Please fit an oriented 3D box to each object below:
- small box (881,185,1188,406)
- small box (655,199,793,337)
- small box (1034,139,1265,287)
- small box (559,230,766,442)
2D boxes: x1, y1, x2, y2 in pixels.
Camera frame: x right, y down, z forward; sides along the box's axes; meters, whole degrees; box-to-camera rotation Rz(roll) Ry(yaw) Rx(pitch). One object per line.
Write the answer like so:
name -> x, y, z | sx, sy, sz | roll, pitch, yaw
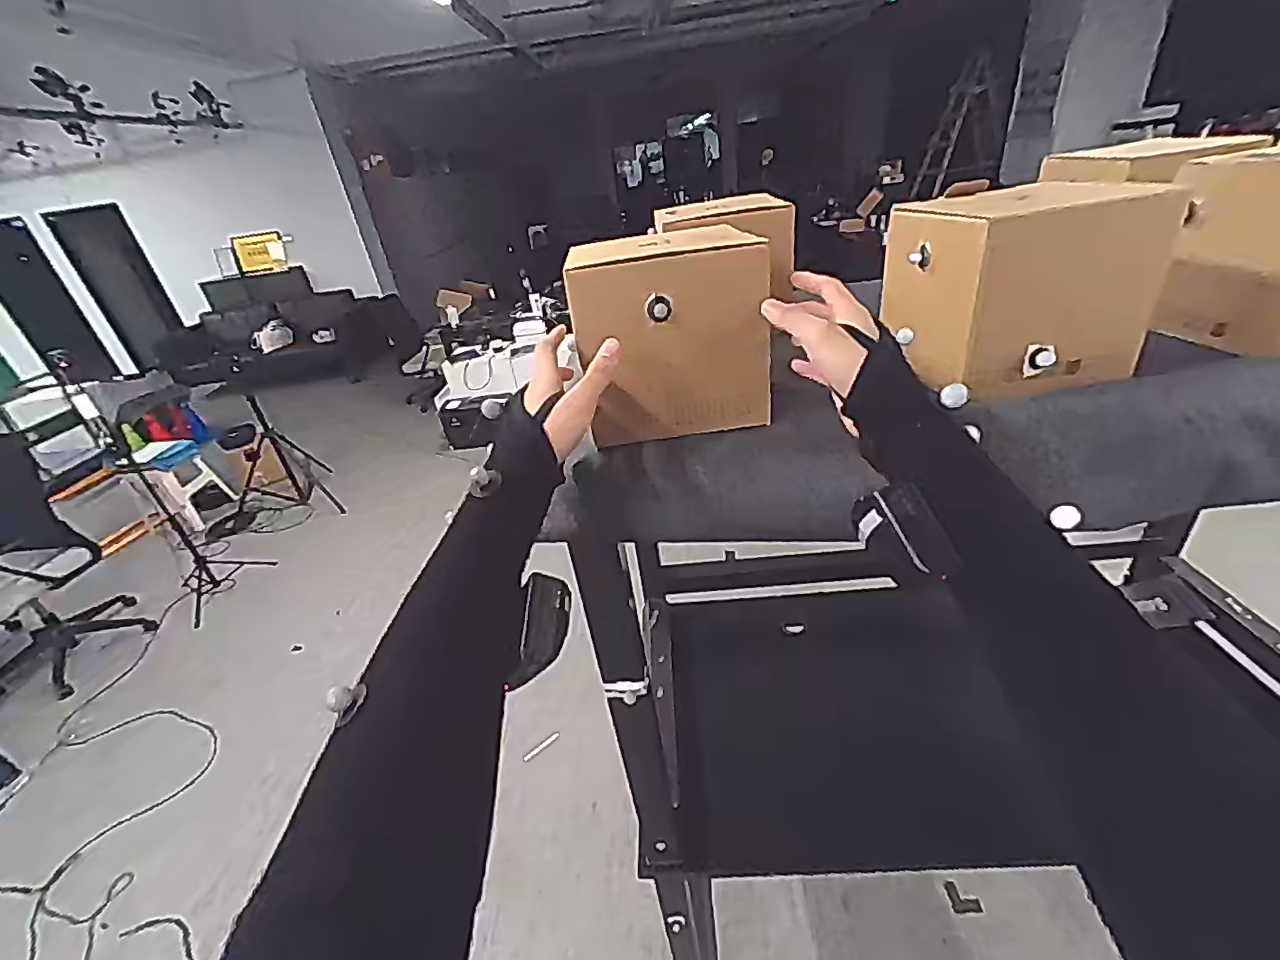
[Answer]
small box -> 0.359, -0.187, 0.540 | 0.168, 0.176, 0.179 | -9, 29, 1
small box -> 0.117, -0.308, 0.803 | 0.179, 0.176, 0.168 | -6, 31, 2
small box -> 0.690, -0.374, 0.772 | 0.168, 0.176, 0.179 | -7, 31, 4
small box -> 0.024, -0.148, 0.552 | 0.179, 0.176, 0.168 | -8, 30, 0
